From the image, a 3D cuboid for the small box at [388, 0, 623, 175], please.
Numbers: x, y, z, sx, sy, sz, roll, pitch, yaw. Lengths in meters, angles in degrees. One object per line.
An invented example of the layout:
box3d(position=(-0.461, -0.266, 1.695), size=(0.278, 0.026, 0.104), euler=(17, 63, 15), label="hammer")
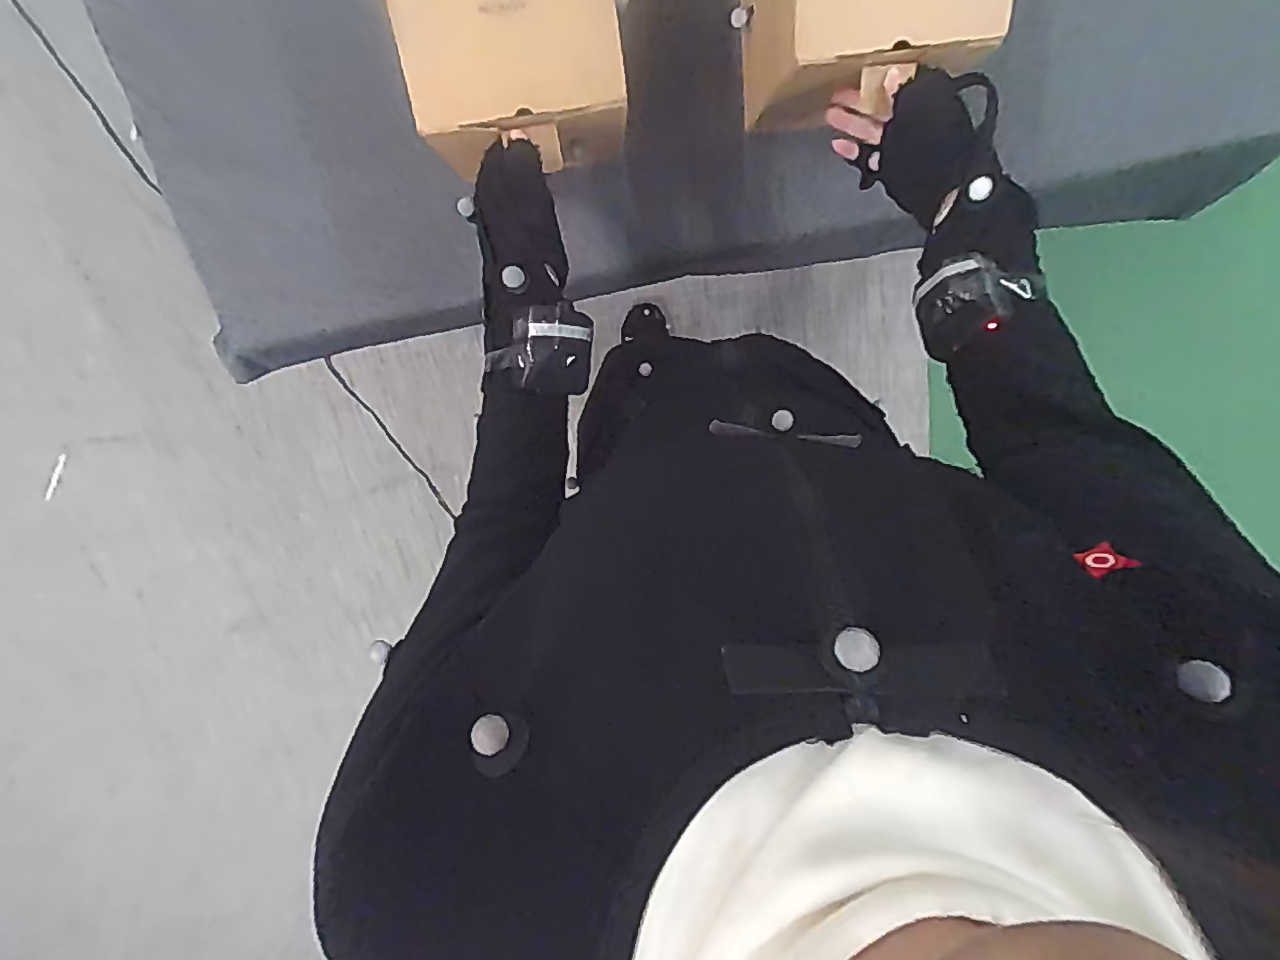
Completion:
box3d(position=(-0.110, -0.387, 0.476), size=(0.168, 0.176, 0.179), euler=(-11, 108, -1), label="small box")
